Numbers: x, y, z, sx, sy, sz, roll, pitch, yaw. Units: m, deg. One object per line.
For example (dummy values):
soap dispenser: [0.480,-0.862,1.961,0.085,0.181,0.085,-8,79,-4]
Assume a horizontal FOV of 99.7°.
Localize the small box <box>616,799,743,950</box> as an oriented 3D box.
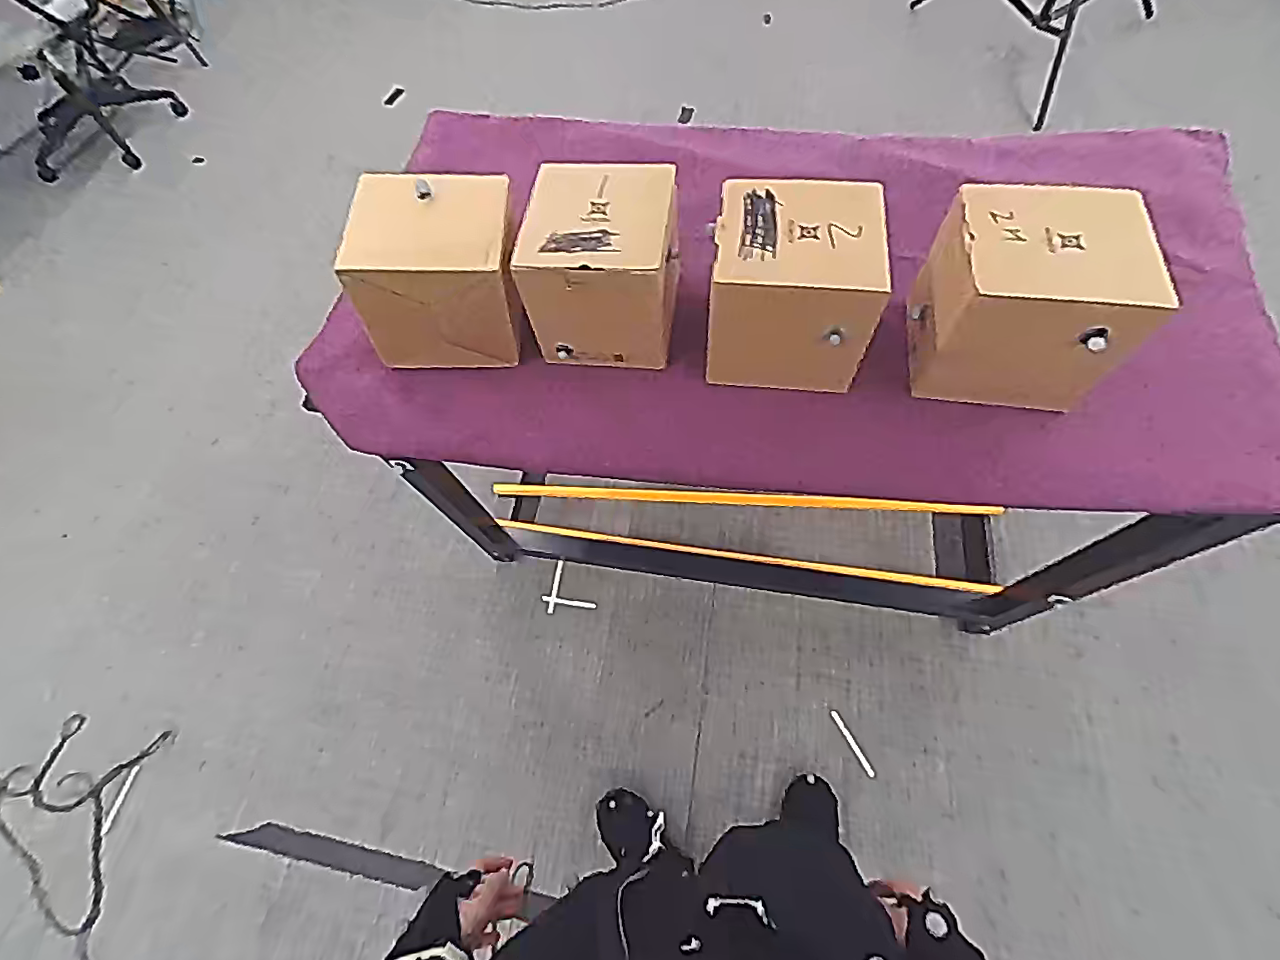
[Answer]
small box: [0.070,0.717,0.998,0.179,0.176,0.168,-30,62,-12]
